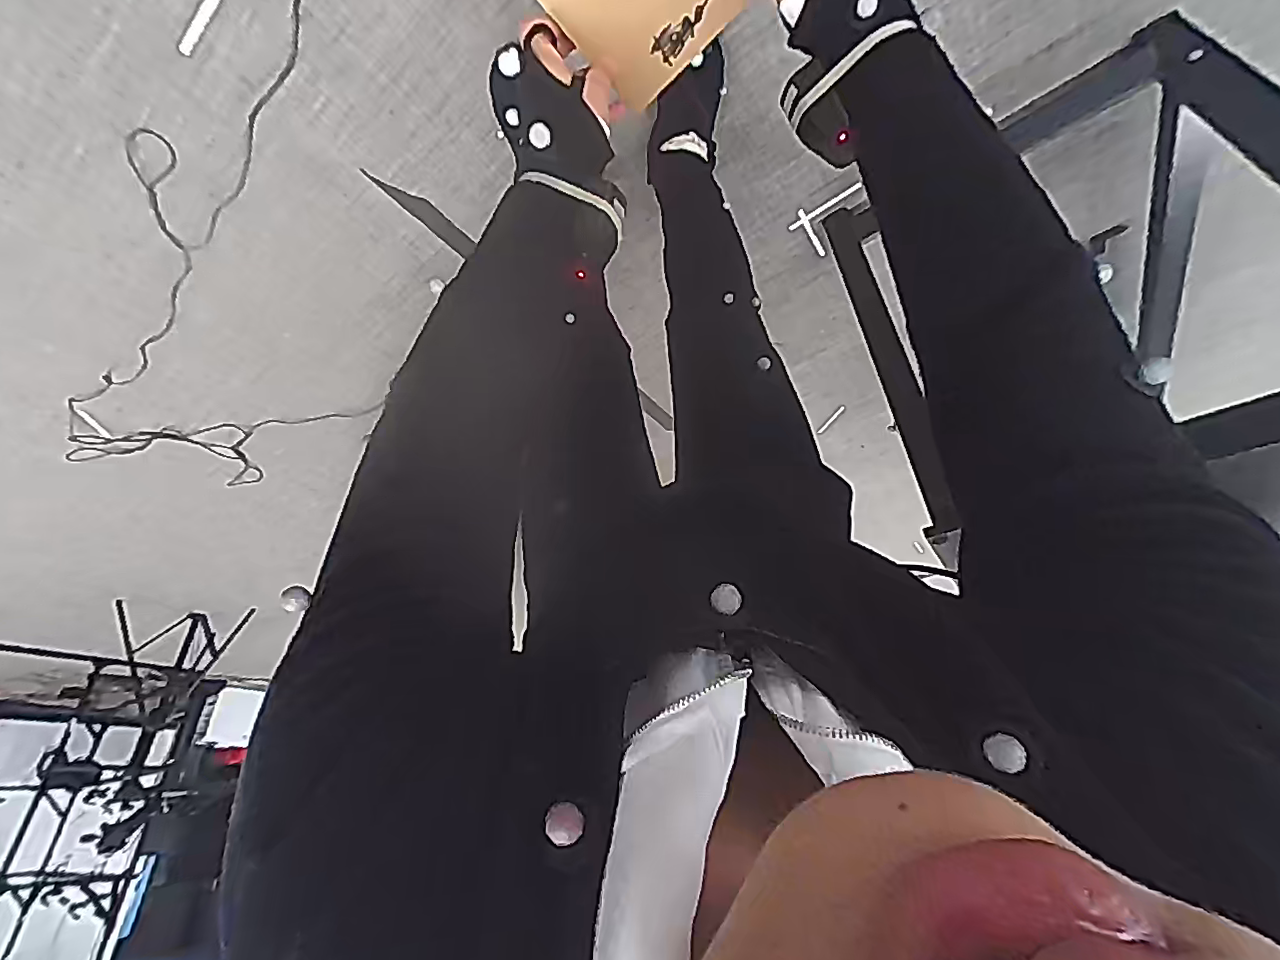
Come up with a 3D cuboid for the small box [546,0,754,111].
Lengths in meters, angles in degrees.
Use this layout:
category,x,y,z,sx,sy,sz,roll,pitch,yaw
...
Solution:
category,x,y,z,sx,sy,sz,roll,pitch,yaw
small box,0.001,-0.463,0.435,0.168,0.176,0.179,-25,141,34
